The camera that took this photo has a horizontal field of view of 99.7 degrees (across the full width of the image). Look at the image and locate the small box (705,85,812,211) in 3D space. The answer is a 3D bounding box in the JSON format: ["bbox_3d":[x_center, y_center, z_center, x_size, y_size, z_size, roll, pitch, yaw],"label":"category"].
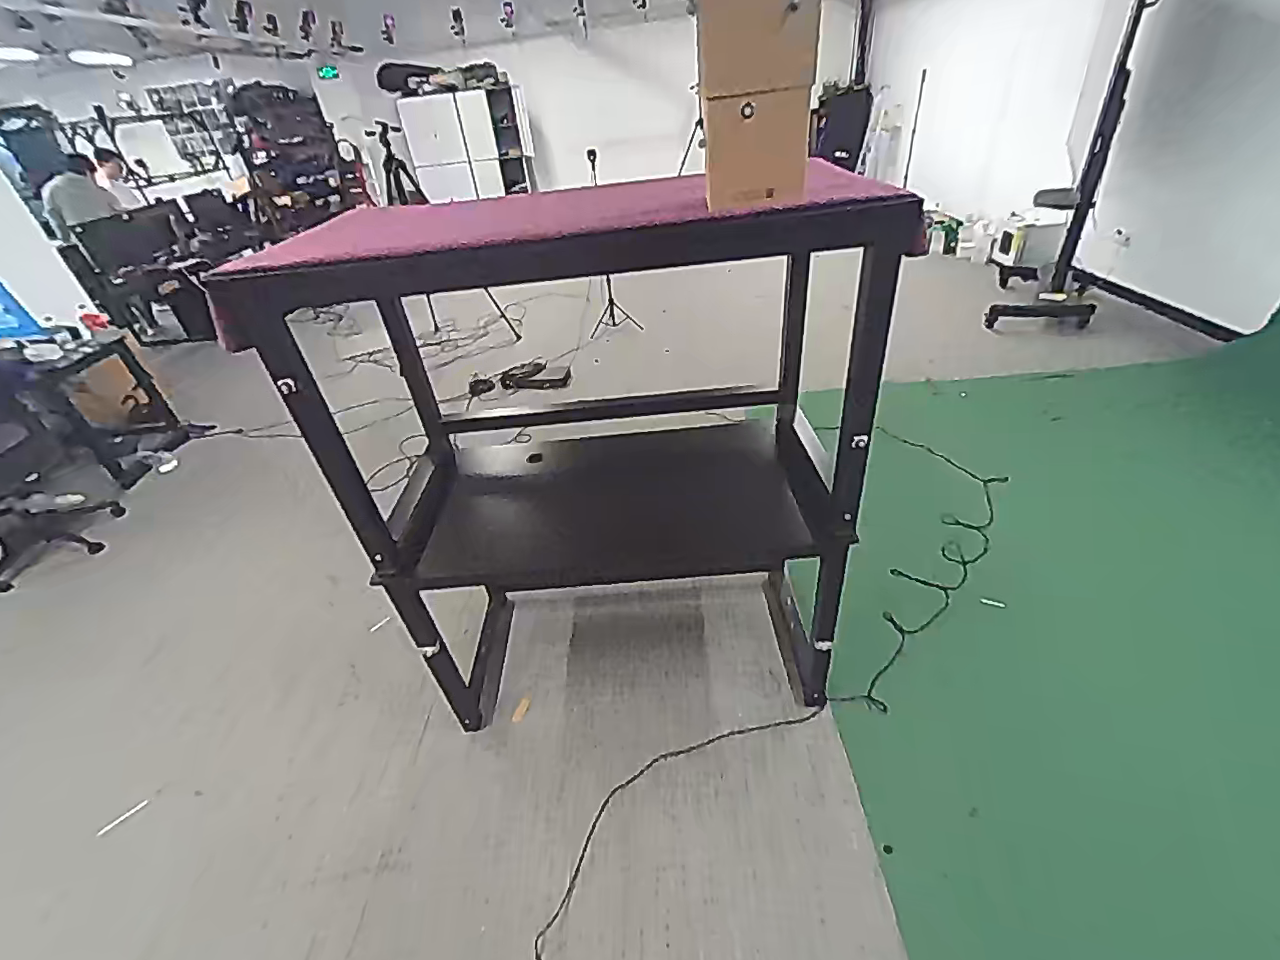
[{"bbox_3d":[0.202,-0.589,0.964,0.168,0.176,0.179,-4,36,7],"label":"small box"}]
